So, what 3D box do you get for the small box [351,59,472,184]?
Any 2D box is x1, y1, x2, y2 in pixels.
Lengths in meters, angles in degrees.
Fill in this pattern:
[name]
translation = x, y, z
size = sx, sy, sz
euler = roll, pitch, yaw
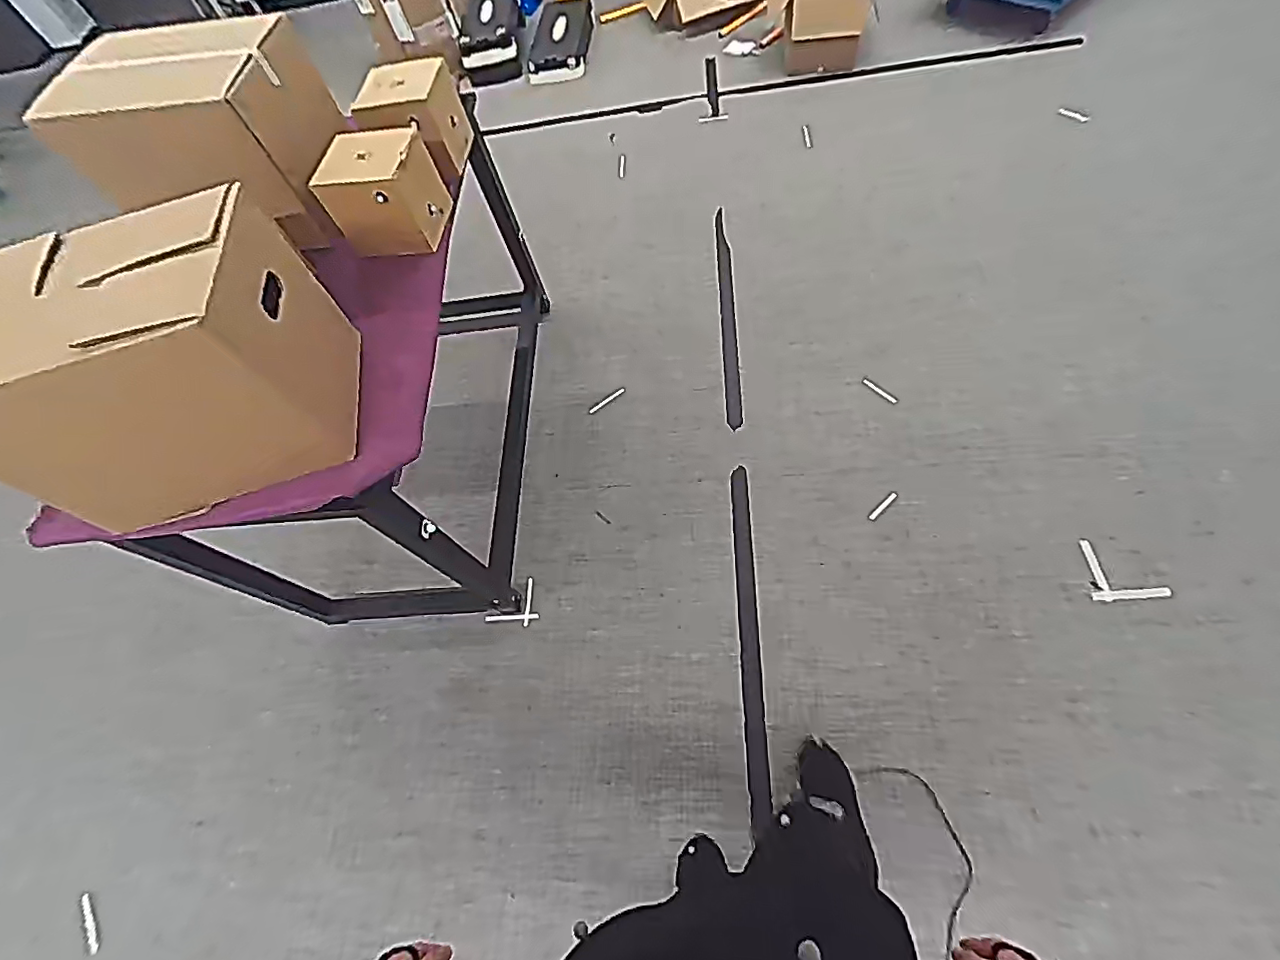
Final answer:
[small box]
translation = -0.502, -0.802, 1.219
size = 0.179, 0.176, 0.168
euler = -2, 61, 10
